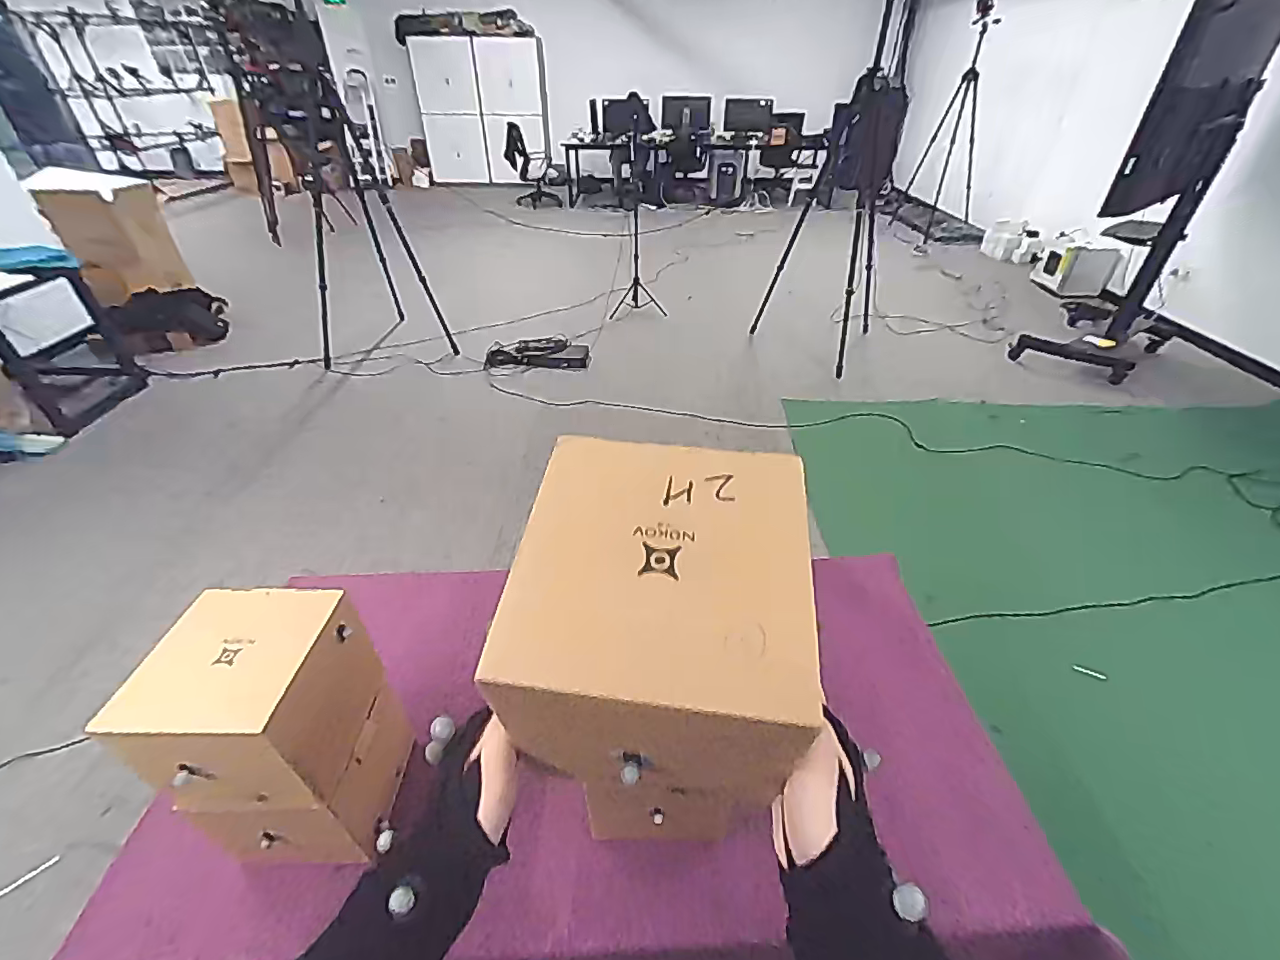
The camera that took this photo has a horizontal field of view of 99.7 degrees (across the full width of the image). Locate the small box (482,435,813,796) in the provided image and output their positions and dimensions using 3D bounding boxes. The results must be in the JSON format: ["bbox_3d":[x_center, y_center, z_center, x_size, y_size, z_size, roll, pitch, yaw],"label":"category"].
[{"bbox_3d":[0.016,0.094,0.371,0.168,0.176,0.179,7,48,6],"label":"small box"}]

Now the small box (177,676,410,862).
[{"bbox_3d":[-0.425,0.375,0.706,0.179,0.176,0.168,-1,37,0],"label":"small box"}]

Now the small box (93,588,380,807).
[{"bbox_3d":[-0.421,0.243,0.610,0.168,0.176,0.179,1,36,0],"label":"small box"}]
